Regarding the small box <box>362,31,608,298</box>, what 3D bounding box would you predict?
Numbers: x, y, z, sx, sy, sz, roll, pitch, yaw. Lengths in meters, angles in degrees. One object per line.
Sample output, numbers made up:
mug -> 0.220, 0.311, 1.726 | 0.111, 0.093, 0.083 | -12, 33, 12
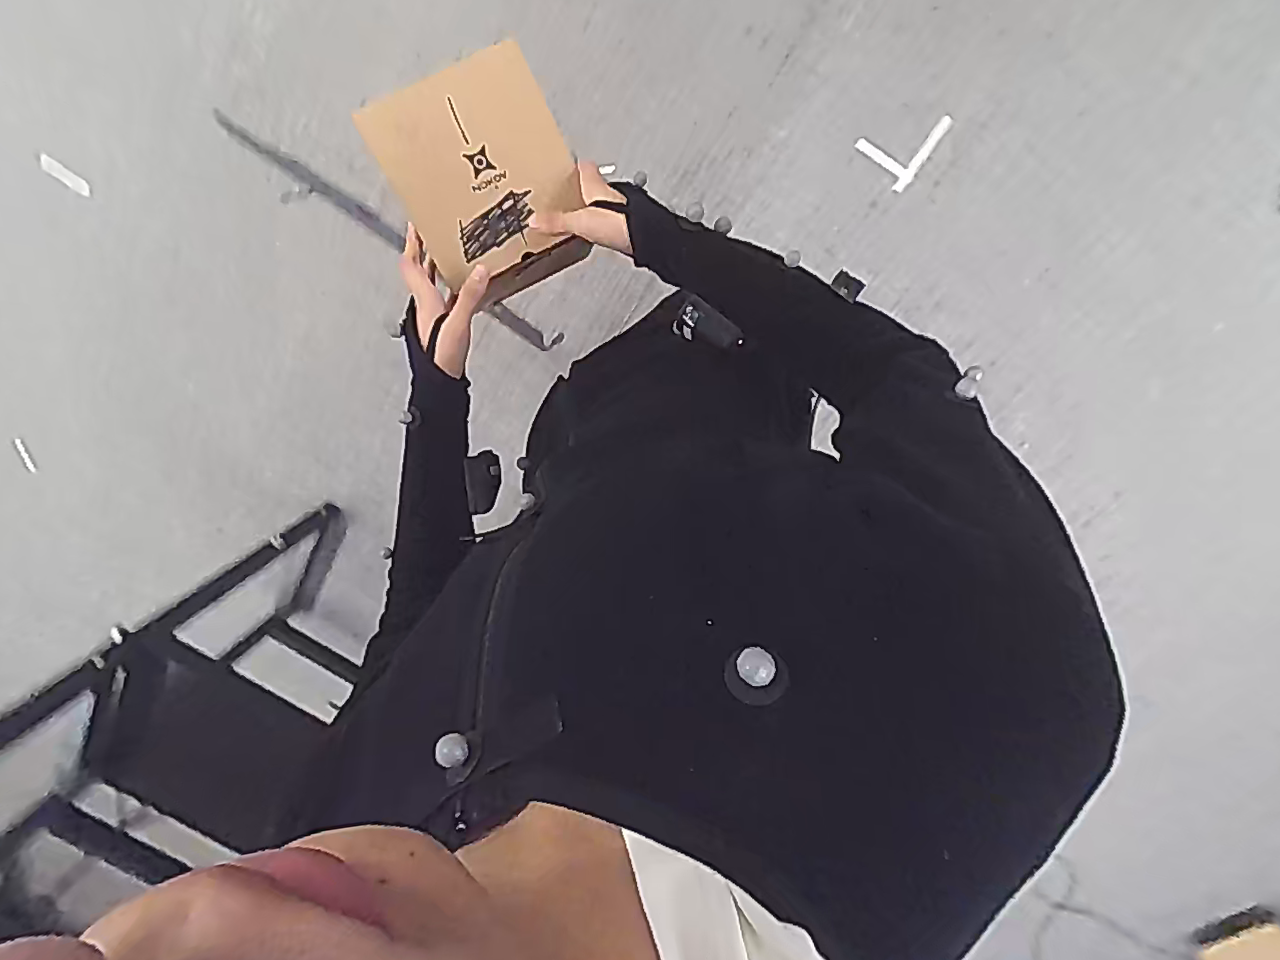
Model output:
small box -> -0.150, -0.308, 0.576 | 0.168, 0.176, 0.179 | -28, 105, -4
